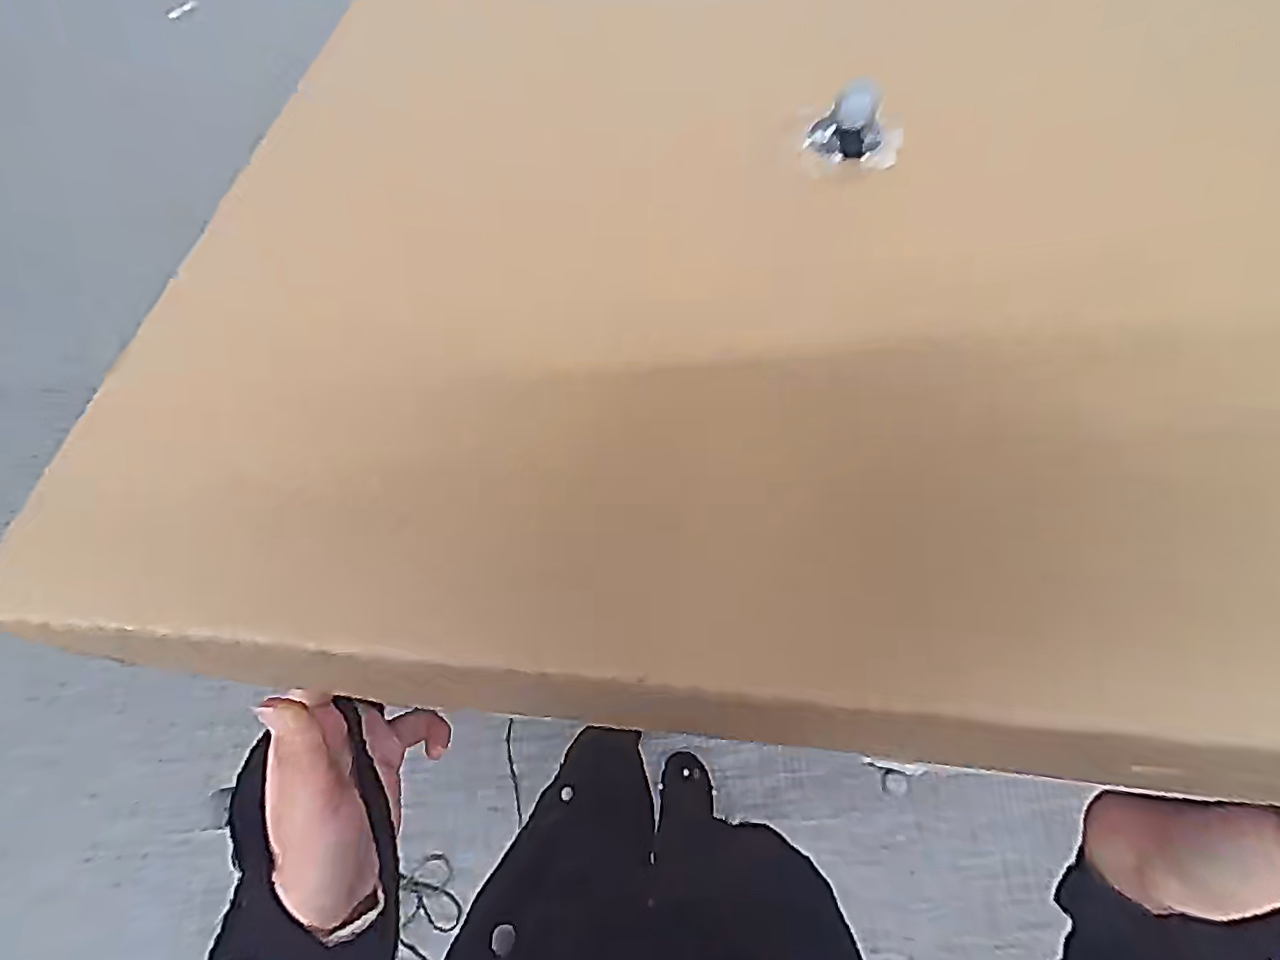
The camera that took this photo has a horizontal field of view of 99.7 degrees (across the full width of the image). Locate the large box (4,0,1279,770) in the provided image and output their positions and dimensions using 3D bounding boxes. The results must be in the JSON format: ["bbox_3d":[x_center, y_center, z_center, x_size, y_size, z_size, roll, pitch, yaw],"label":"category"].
[{"bbox_3d":[0.069,-0.038,0.300,0.408,0.320,0.320,3,65,6],"label":"large box"}]
